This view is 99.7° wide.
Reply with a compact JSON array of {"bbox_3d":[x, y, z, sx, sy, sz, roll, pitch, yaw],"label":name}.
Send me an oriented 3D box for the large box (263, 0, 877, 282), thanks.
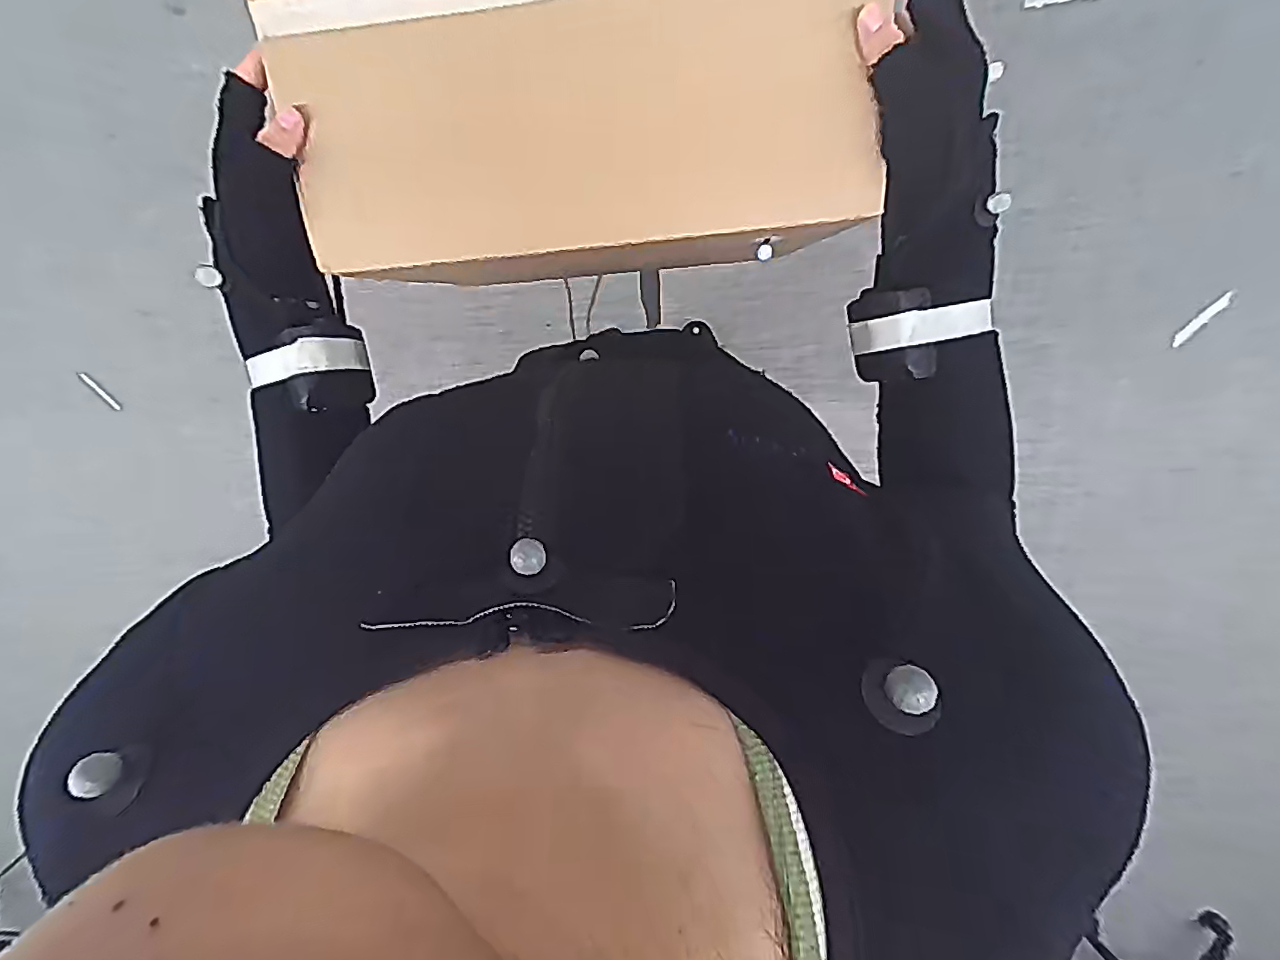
[{"bbox_3d":[-0.042,-0.363,0.487,0.408,0.320,0.320,-4,107,4],"label":"large box"}]
